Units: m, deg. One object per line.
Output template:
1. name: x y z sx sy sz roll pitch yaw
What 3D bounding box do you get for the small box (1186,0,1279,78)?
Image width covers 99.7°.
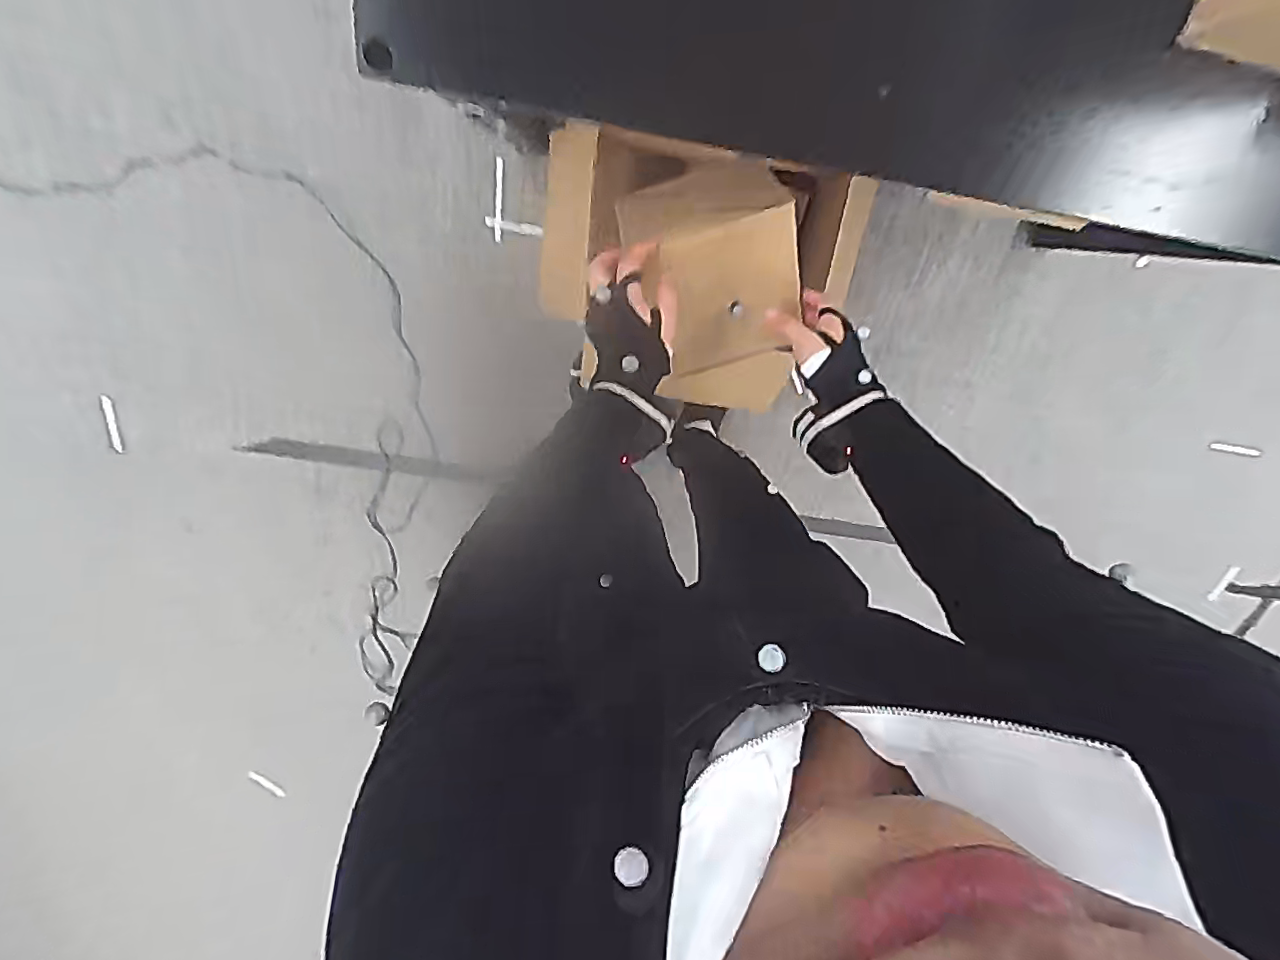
1. small box: 0.551 -0.391 0.362 0.179 0.176 0.168 8 115 -8
